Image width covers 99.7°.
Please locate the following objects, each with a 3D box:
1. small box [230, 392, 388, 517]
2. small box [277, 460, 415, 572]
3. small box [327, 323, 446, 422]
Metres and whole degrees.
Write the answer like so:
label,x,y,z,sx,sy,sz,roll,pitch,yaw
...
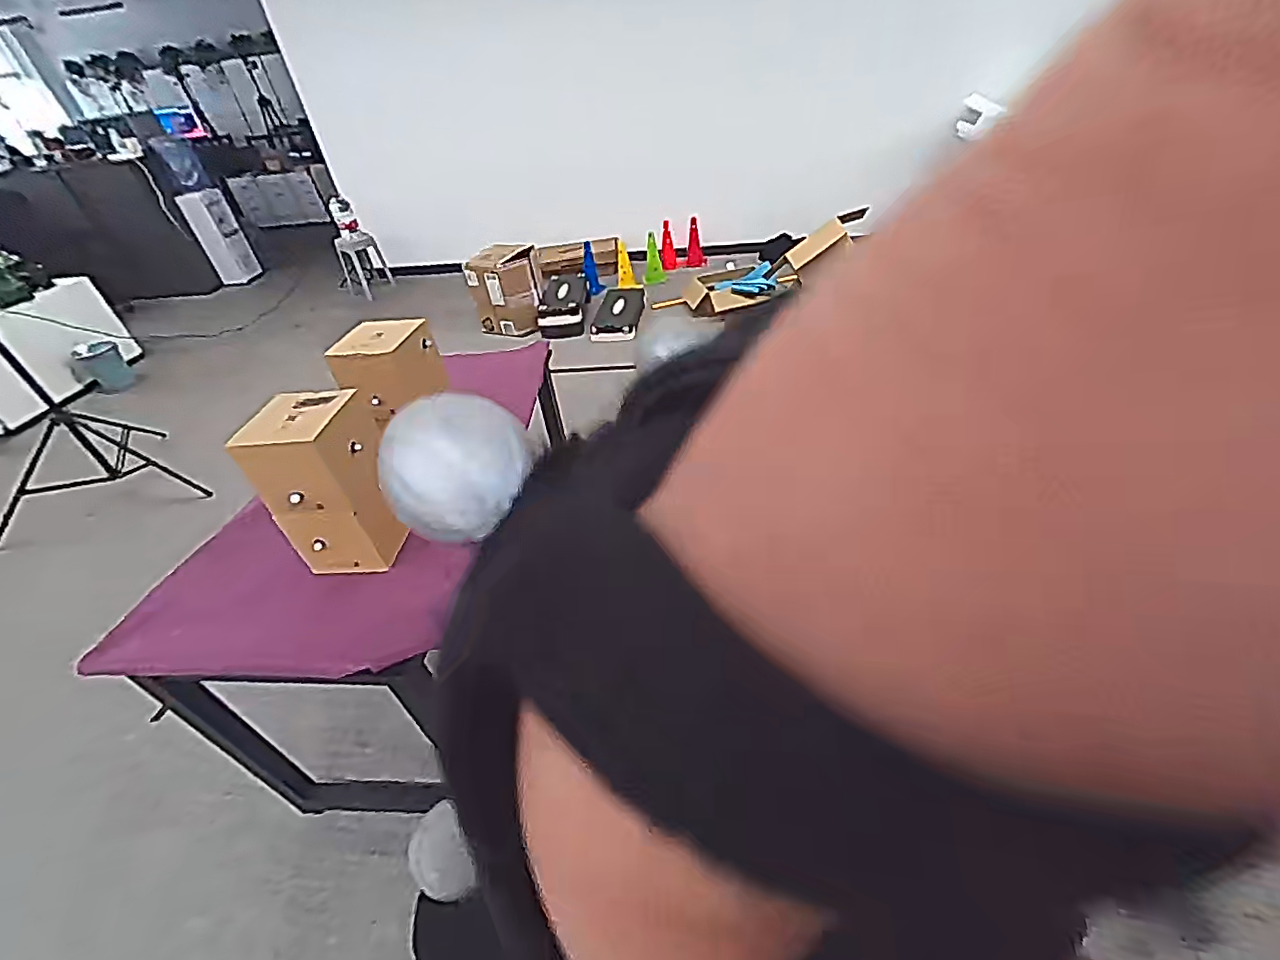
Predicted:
label,x,y,z,sx,sy,sz,roll,pitch,yaw
small box,-0.609,-0.048,1.027,0.168,0.176,0.179,-3,39,5
small box,-0.597,0.080,1.130,0.168,0.176,0.179,-3,39,5
small box,-0.578,-0.253,1.267,0.168,0.176,0.179,0,40,10
